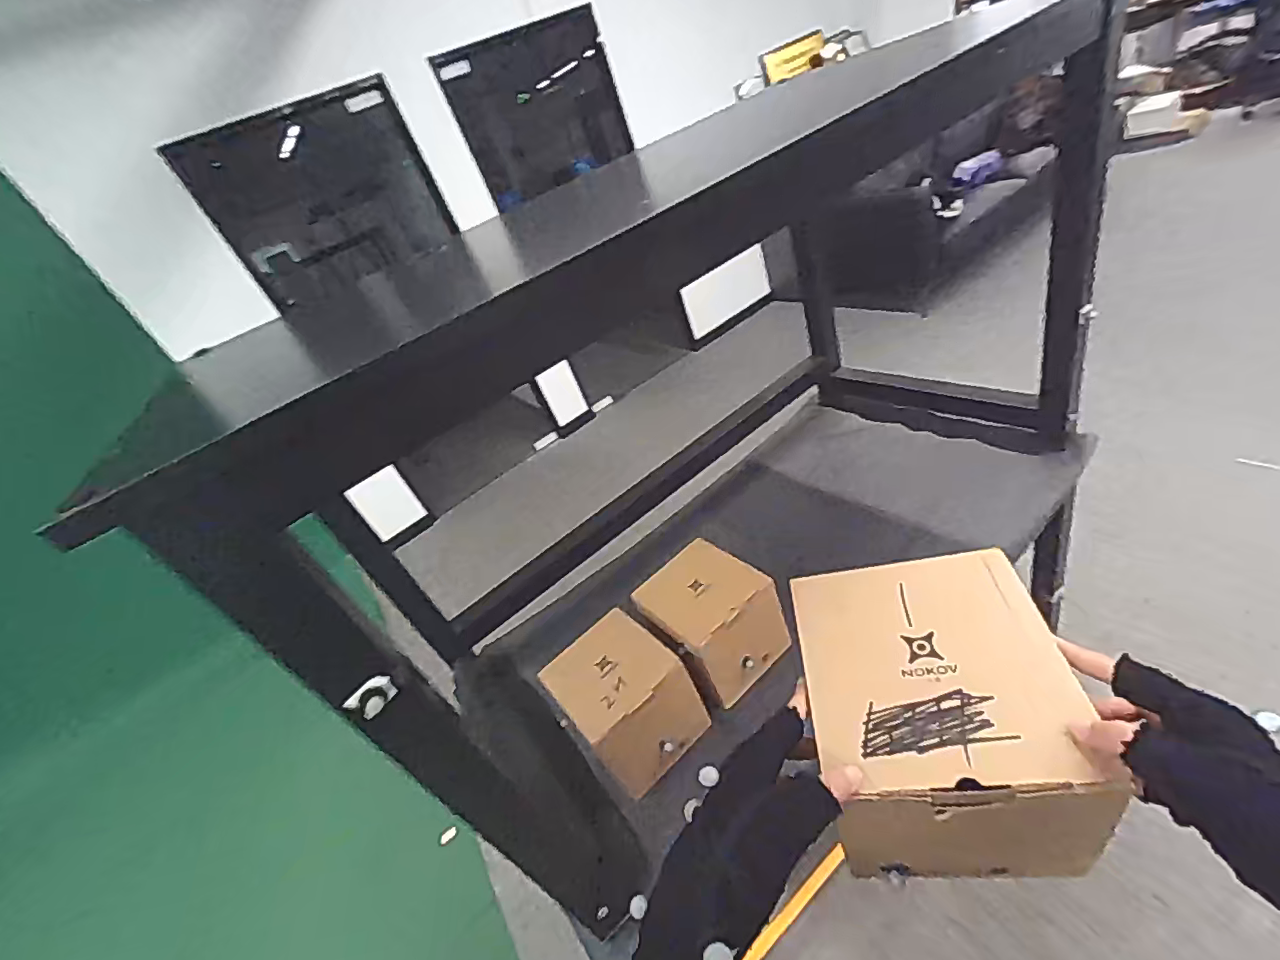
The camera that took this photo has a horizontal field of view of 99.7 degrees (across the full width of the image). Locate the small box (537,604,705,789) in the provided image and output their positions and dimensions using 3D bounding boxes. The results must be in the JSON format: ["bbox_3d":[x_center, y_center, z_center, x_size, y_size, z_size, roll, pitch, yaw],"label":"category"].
[{"bbox_3d":[-0.028,0.336,0.848,0.168,0.176,0.179,-38,35,-21],"label":"small box"}]
